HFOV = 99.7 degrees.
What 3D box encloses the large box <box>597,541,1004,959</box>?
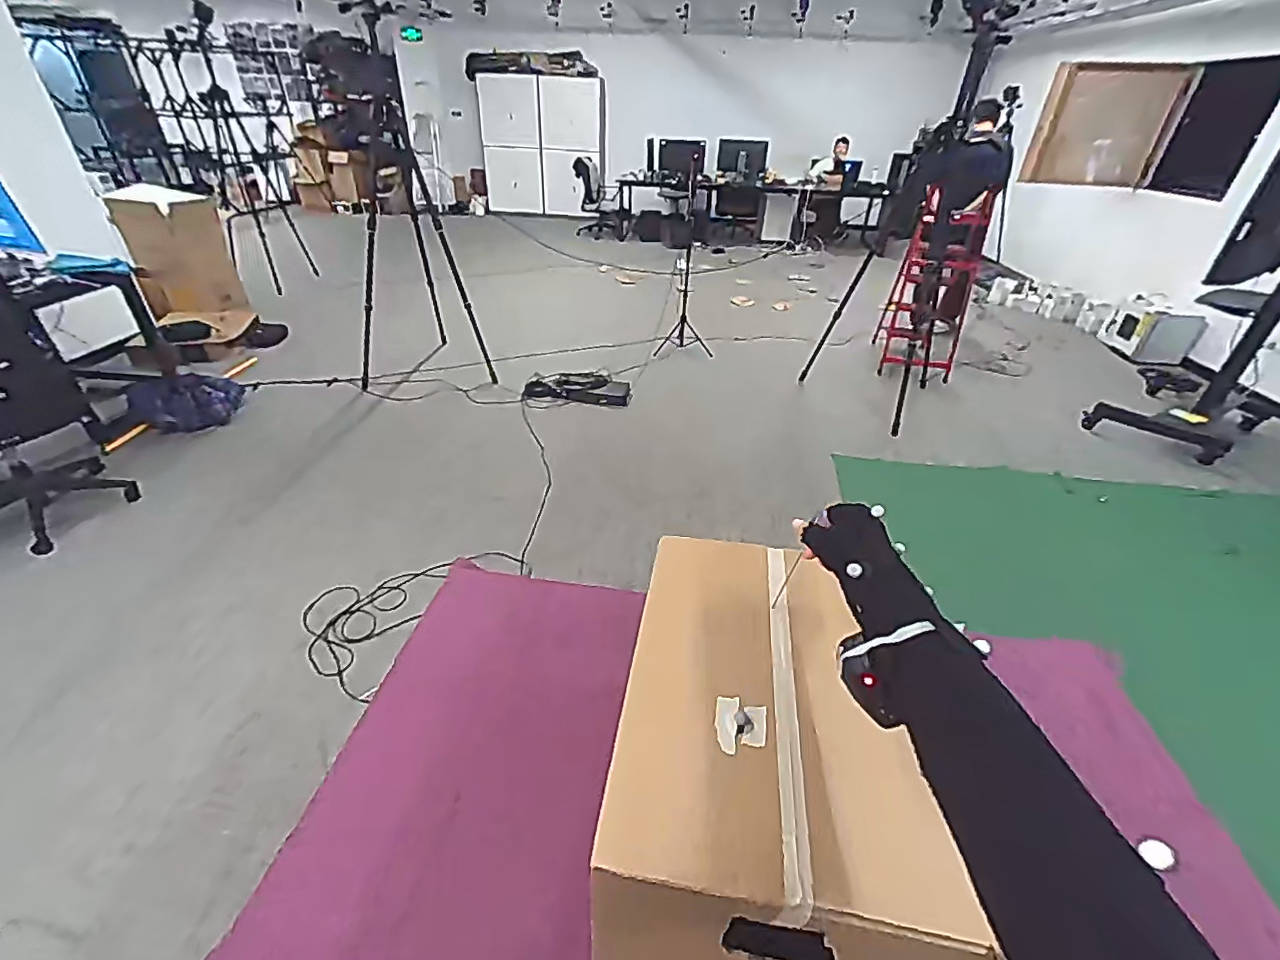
[{"bbox_3d":[0.140,0.335,0.656,0.320,0.320,0.408,7,35,7],"label":"large box"}]
